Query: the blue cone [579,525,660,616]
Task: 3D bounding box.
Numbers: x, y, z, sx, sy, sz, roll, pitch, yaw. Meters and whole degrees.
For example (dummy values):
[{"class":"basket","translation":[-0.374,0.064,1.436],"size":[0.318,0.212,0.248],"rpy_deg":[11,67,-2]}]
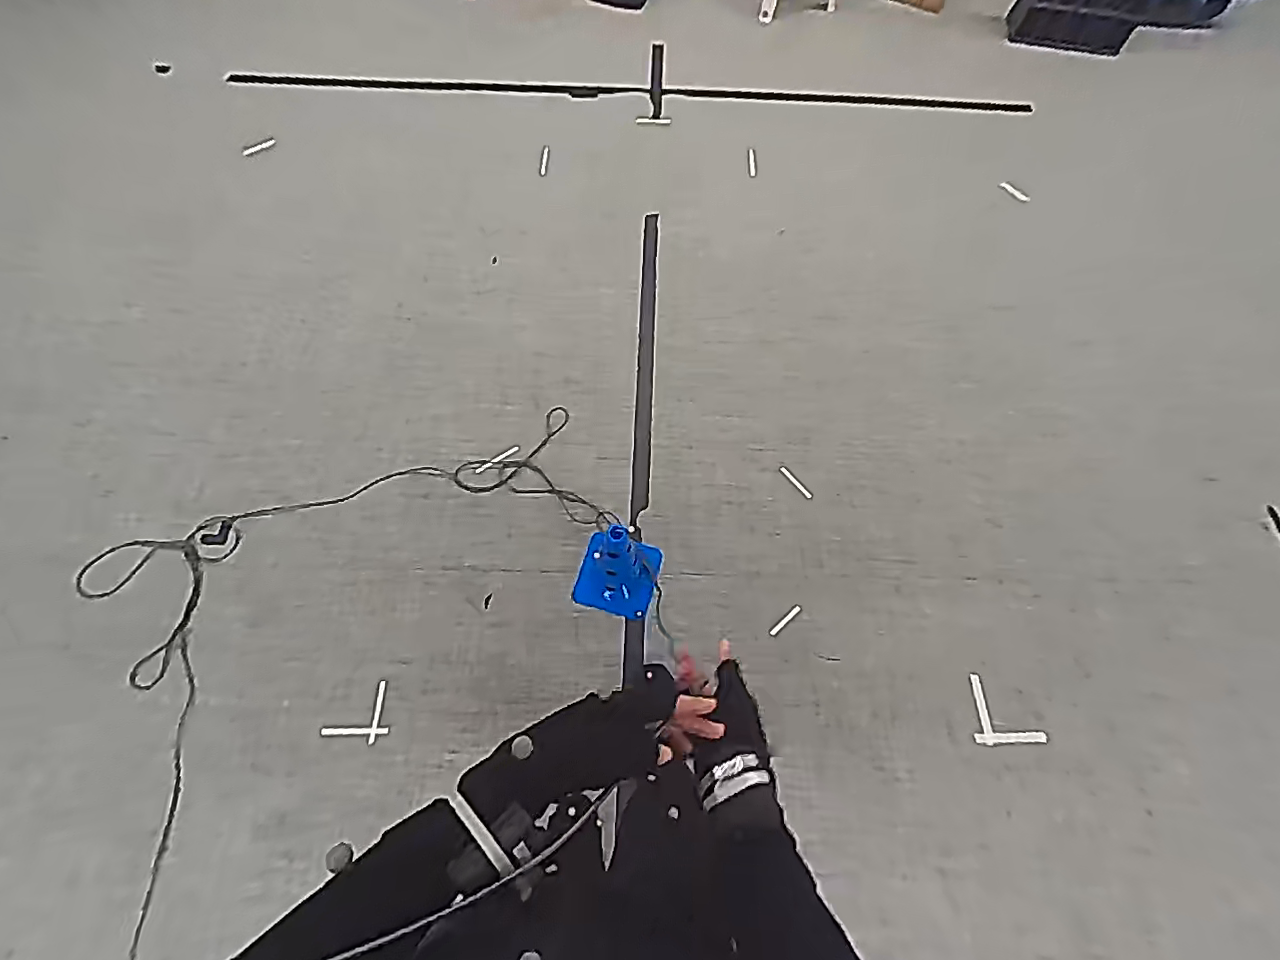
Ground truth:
[{"class":"blue cone","translation":[-0.046,0.181,1.277],"size":[0.192,0.380,0.193],"rpy_deg":[18,67,5]}]
